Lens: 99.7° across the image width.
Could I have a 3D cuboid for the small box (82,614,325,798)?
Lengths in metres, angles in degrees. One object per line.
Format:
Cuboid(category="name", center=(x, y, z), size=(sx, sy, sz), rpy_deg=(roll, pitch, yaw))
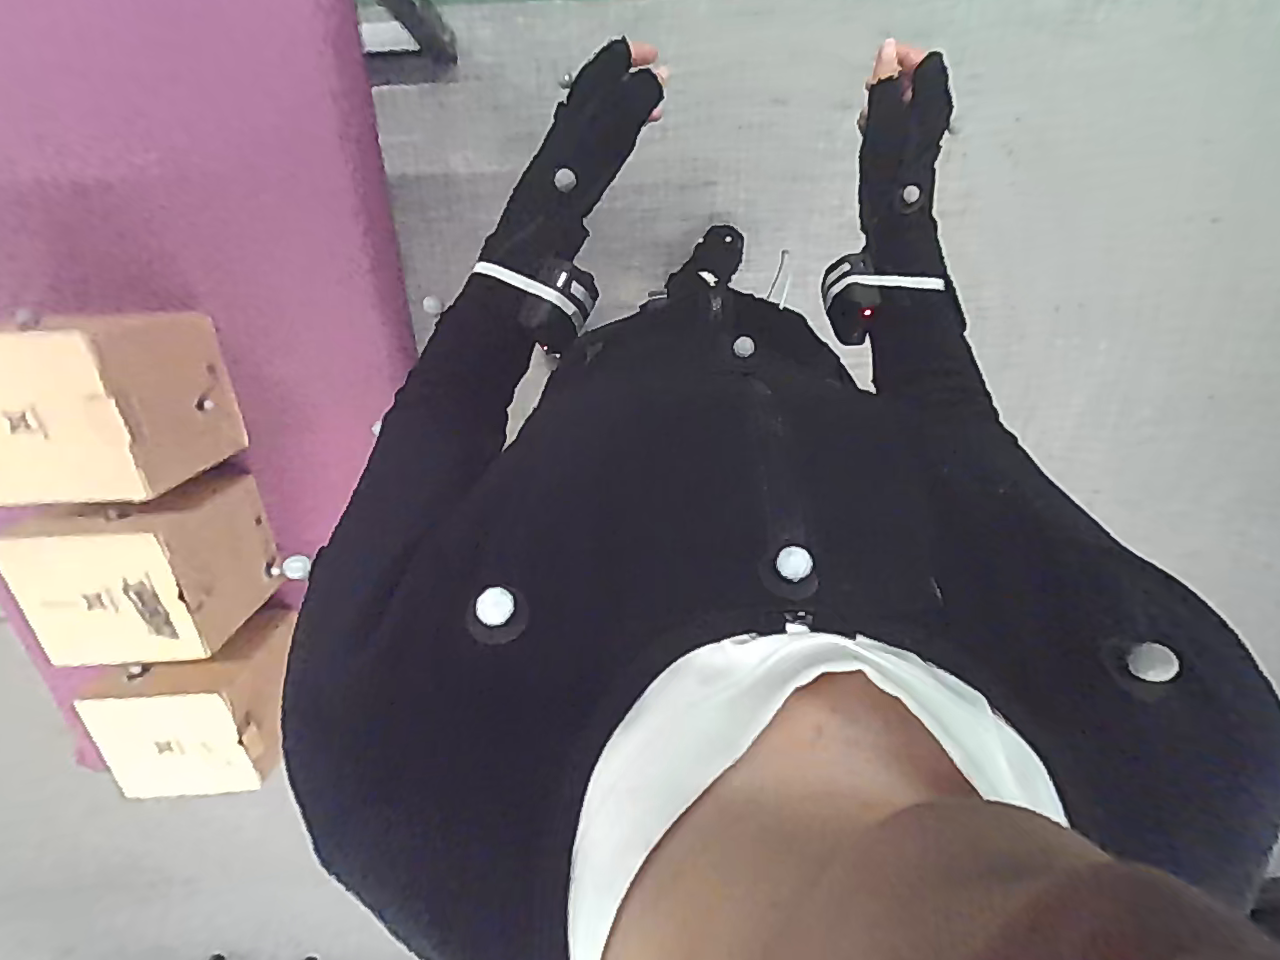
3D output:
Cuboid(category="small box", center=(-0.579, 0.303, 0.747), size=(0.179, 0.176, 0.168), rpy_deg=(-3, 112, -2))
